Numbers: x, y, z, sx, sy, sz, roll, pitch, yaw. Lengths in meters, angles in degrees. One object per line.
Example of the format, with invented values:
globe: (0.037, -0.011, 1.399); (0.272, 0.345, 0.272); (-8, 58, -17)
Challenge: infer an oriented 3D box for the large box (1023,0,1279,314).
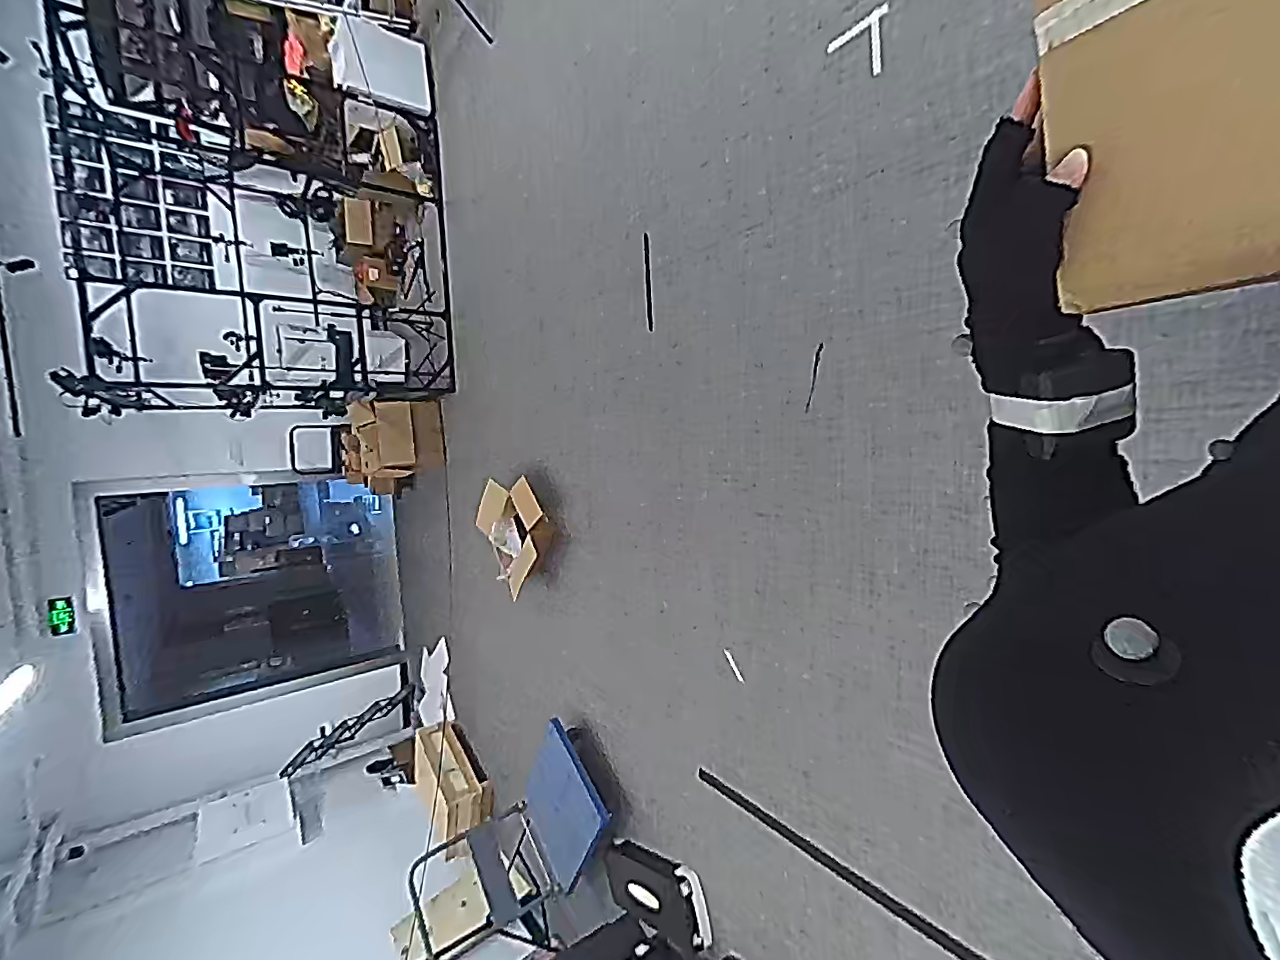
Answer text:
large box: (0.464, -0.290, 0.244); (0.408, 0.320, 0.320); (0, 102, 54)
